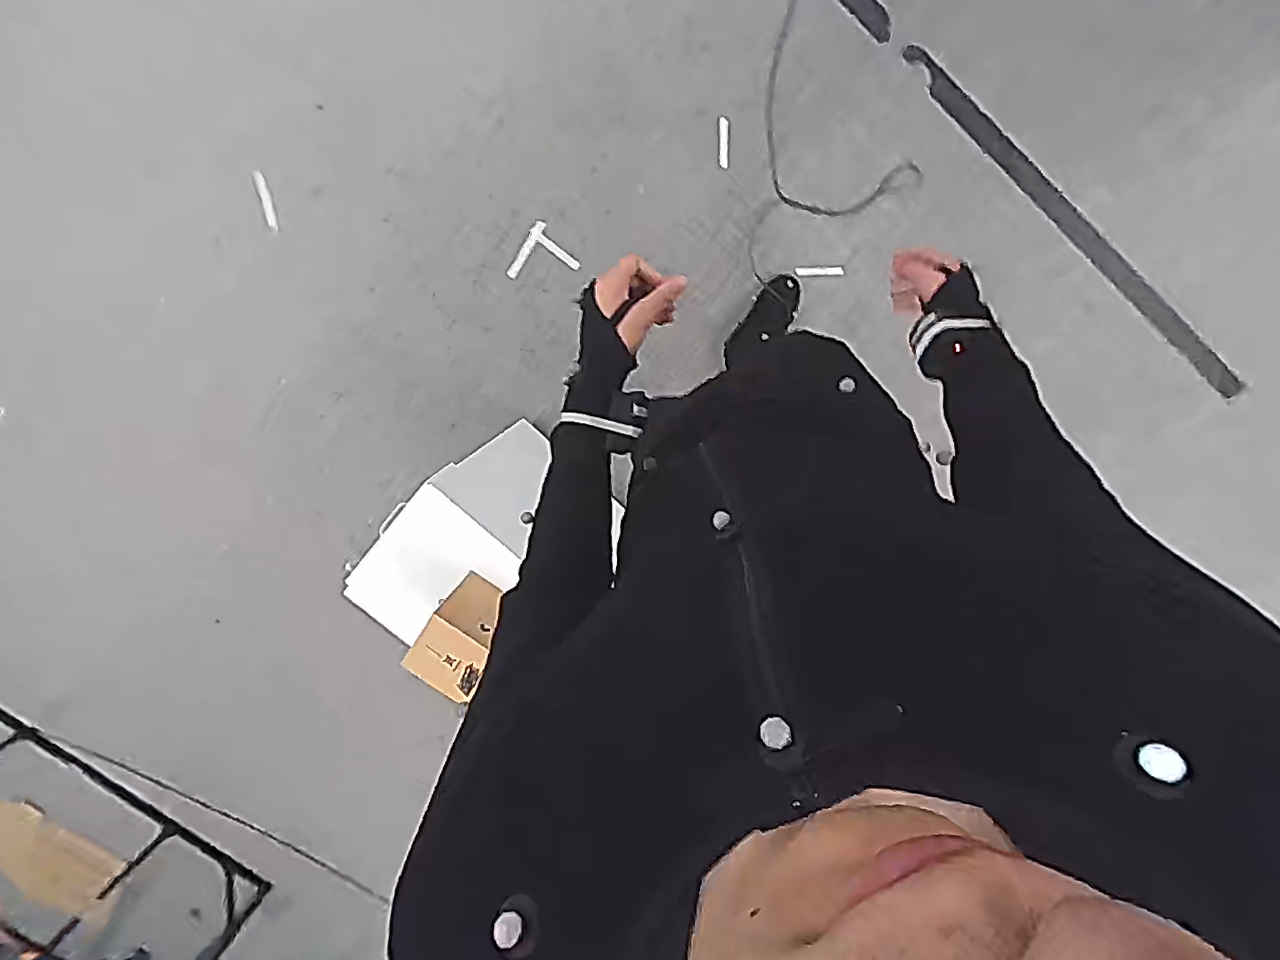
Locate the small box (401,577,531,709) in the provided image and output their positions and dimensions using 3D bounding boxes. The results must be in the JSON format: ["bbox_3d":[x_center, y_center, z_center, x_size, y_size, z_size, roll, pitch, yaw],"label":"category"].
[{"bbox_3d":[-0.359,0.338,1.150,0.179,0.176,0.168,35,112,-4],"label":"small box"}]
